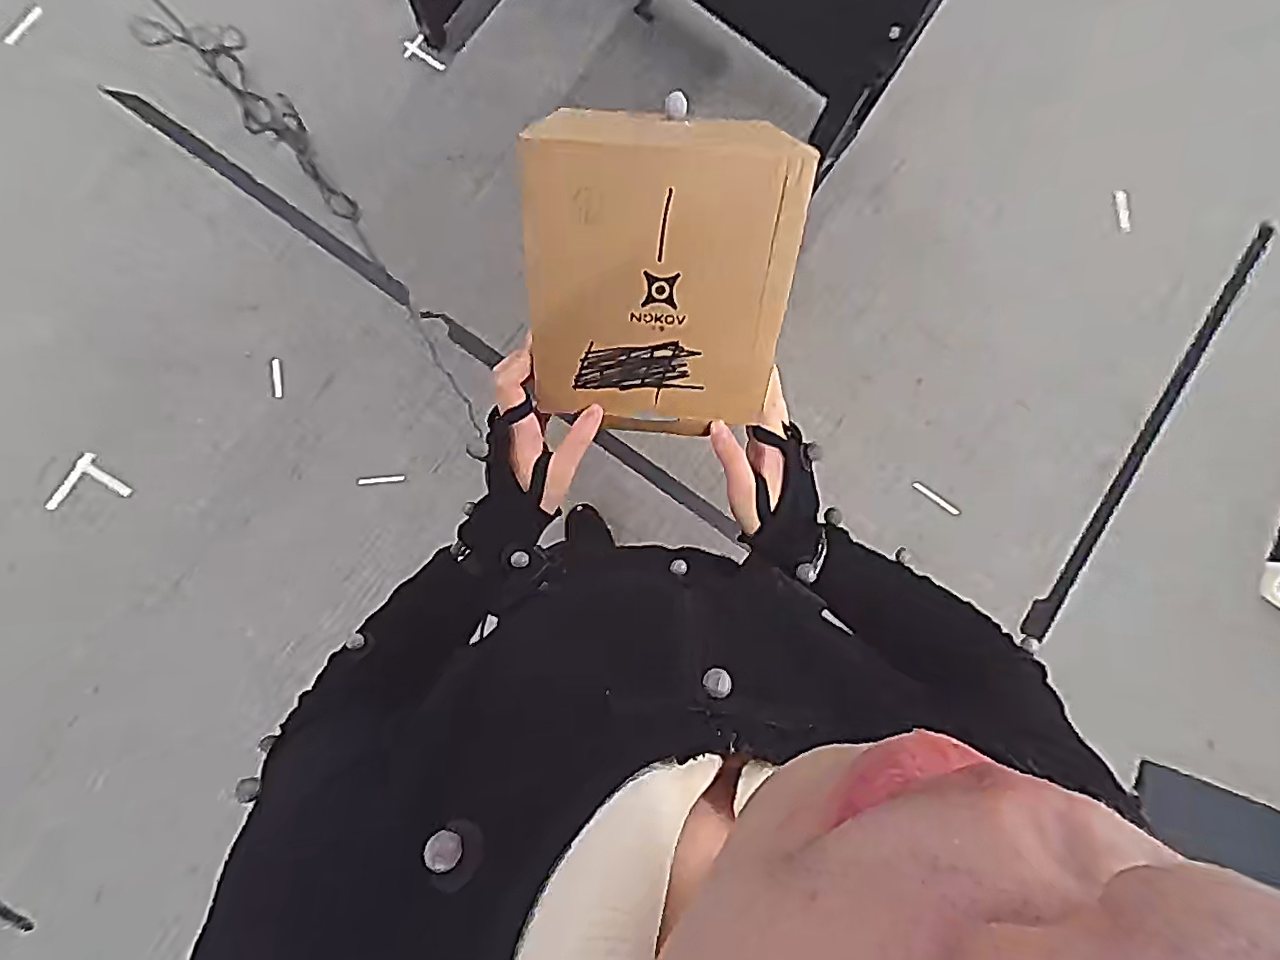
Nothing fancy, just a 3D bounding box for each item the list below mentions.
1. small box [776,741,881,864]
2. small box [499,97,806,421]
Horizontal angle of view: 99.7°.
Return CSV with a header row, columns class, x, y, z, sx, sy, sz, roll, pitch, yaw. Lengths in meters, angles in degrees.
class,x,y,z,sx,sy,sz,roll,pitch,yaw
small box,0.471,0.817,1.390,0.168,0.176,0.179,34,86,-1
small box,0.004,-0.164,0.395,0.168,0.176,0.179,3,127,-2
